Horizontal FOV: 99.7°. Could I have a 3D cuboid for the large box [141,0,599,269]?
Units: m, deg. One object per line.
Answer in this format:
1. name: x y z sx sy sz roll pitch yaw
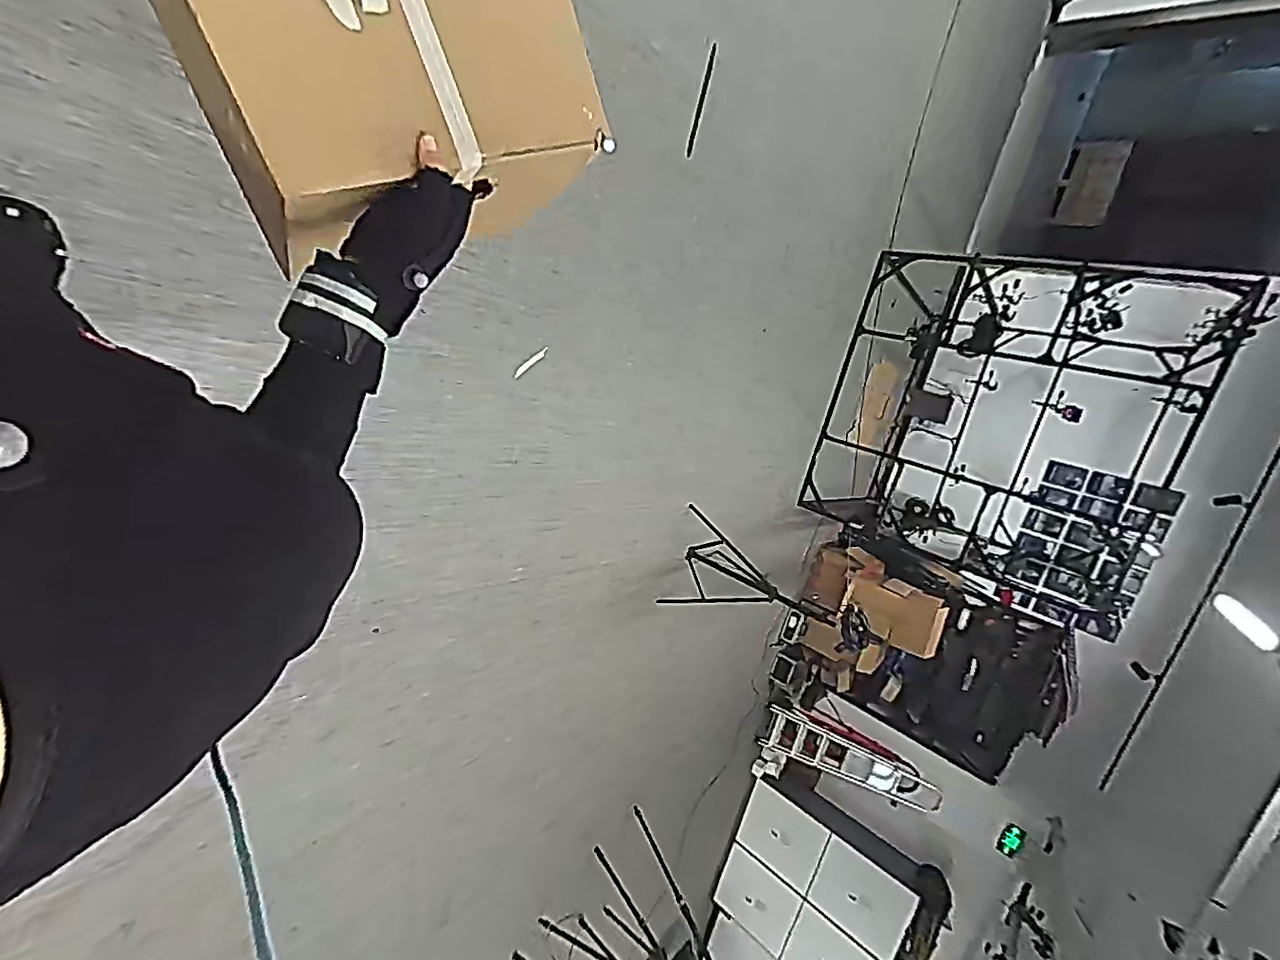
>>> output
1. large box: -0.303 -0.483 0.549 0.320 0.320 0.408 -29 110 -26
